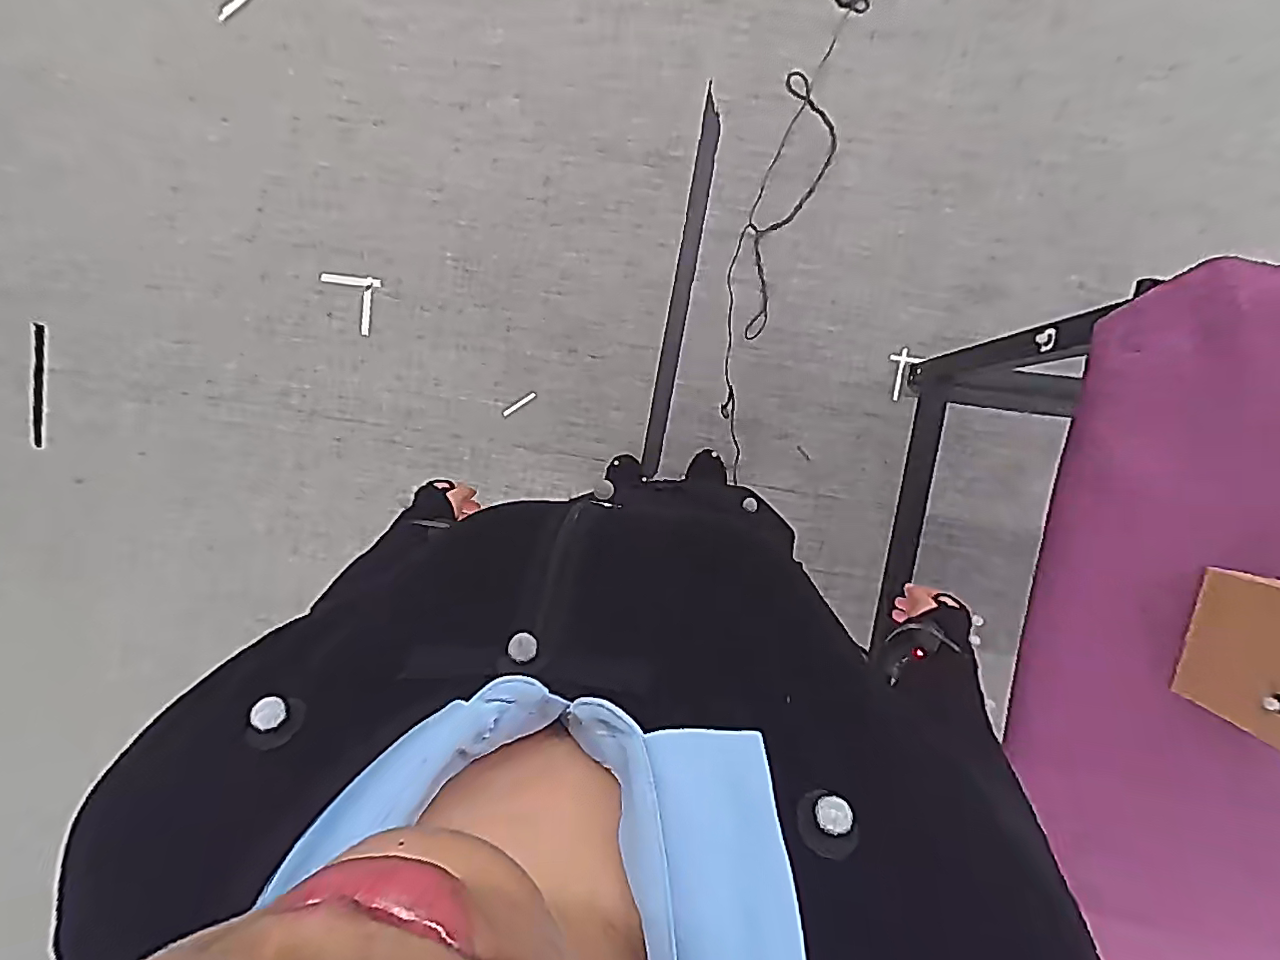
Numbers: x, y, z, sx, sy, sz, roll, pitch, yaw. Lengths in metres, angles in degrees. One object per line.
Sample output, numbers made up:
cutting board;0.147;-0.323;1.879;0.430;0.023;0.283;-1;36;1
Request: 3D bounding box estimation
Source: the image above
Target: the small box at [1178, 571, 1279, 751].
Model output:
small box;0.799;0.223;0.632;0.168;0.176;0.179;10;96;3
